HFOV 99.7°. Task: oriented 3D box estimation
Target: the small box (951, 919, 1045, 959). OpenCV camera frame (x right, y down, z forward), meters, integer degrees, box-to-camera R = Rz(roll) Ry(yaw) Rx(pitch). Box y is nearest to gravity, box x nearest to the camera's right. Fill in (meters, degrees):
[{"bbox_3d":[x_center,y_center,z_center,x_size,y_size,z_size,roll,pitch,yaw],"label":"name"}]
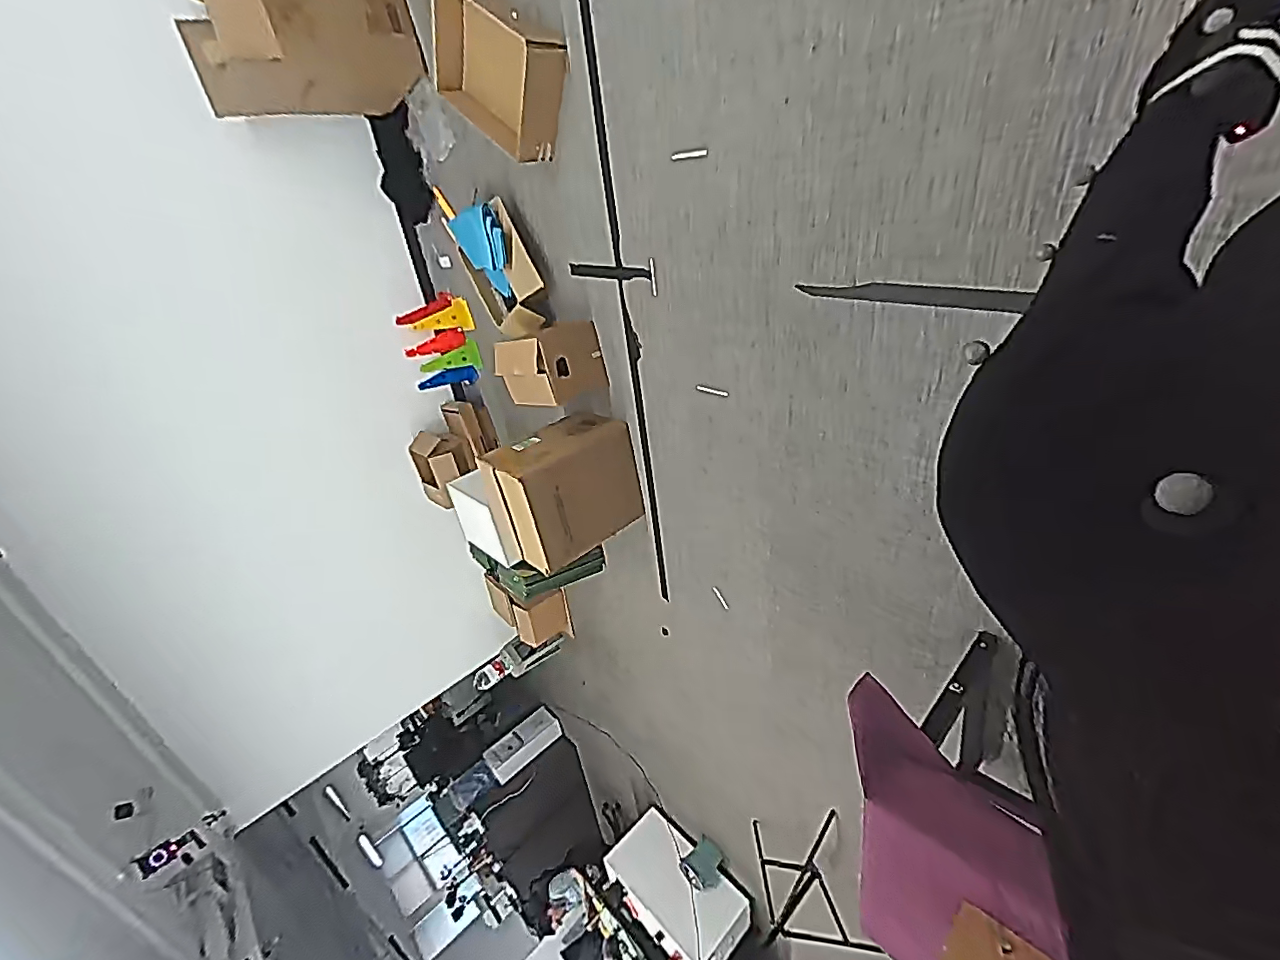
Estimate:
[{"bbox_3d":[0.732,1.043,1.089,0.179,0.176,0.168,17,128,47],"label":"small box"}]
